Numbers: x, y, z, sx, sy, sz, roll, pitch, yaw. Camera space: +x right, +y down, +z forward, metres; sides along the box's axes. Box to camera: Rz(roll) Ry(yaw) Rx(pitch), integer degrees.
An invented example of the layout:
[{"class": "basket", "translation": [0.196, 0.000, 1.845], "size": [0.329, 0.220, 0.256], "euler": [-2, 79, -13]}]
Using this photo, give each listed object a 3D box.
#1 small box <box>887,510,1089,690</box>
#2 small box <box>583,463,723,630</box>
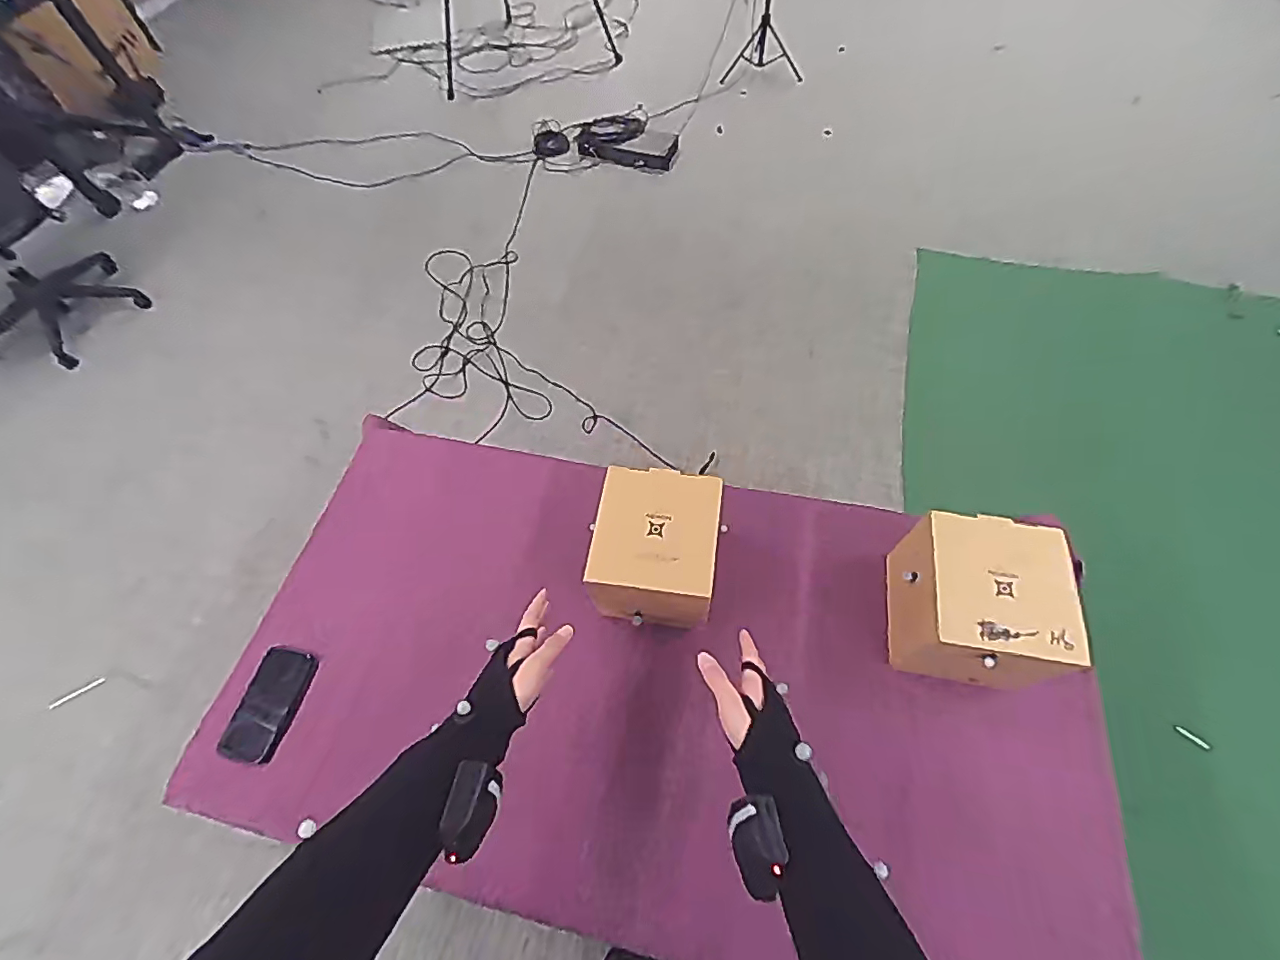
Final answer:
[{"class": "small box", "translation": [0.444, 0.165, 0.726], "size": [0.168, 0.176, 0.179], "euler": [8, 60, 8]}, {"class": "small box", "translation": [0.024, 0.100, 0.785], "size": [0.168, 0.176, 0.179], "euler": [7, 61, 7]}]
